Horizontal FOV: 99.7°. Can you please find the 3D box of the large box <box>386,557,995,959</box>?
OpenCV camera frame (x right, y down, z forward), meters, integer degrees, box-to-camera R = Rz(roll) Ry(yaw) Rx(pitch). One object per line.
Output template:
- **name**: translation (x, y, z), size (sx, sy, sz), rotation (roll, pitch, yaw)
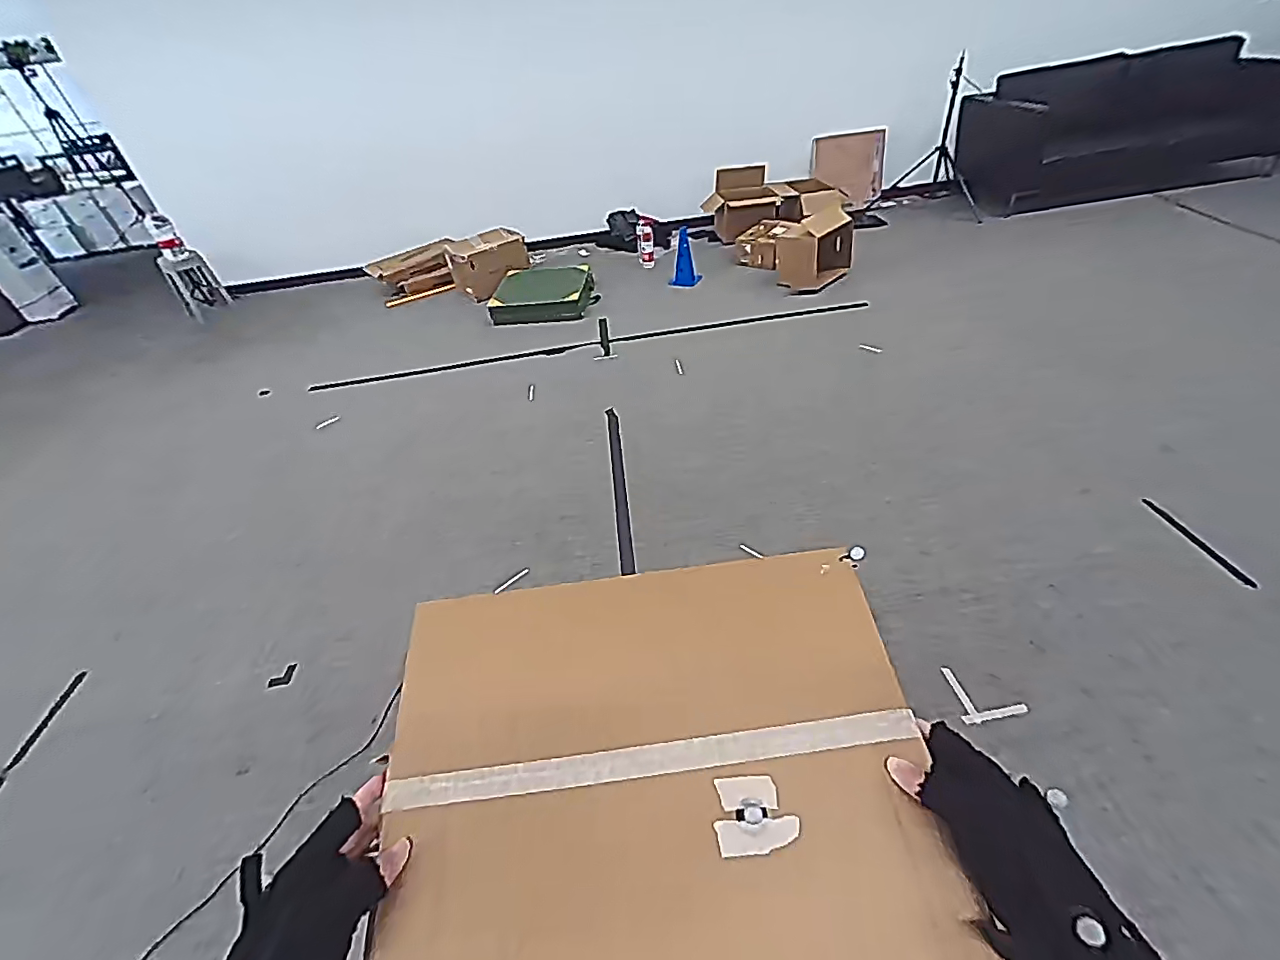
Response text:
- **large box**: translation (0.023, 0.311, 0.544), size (0.408, 0.320, 0.320), rotation (-7, 53, 0)
